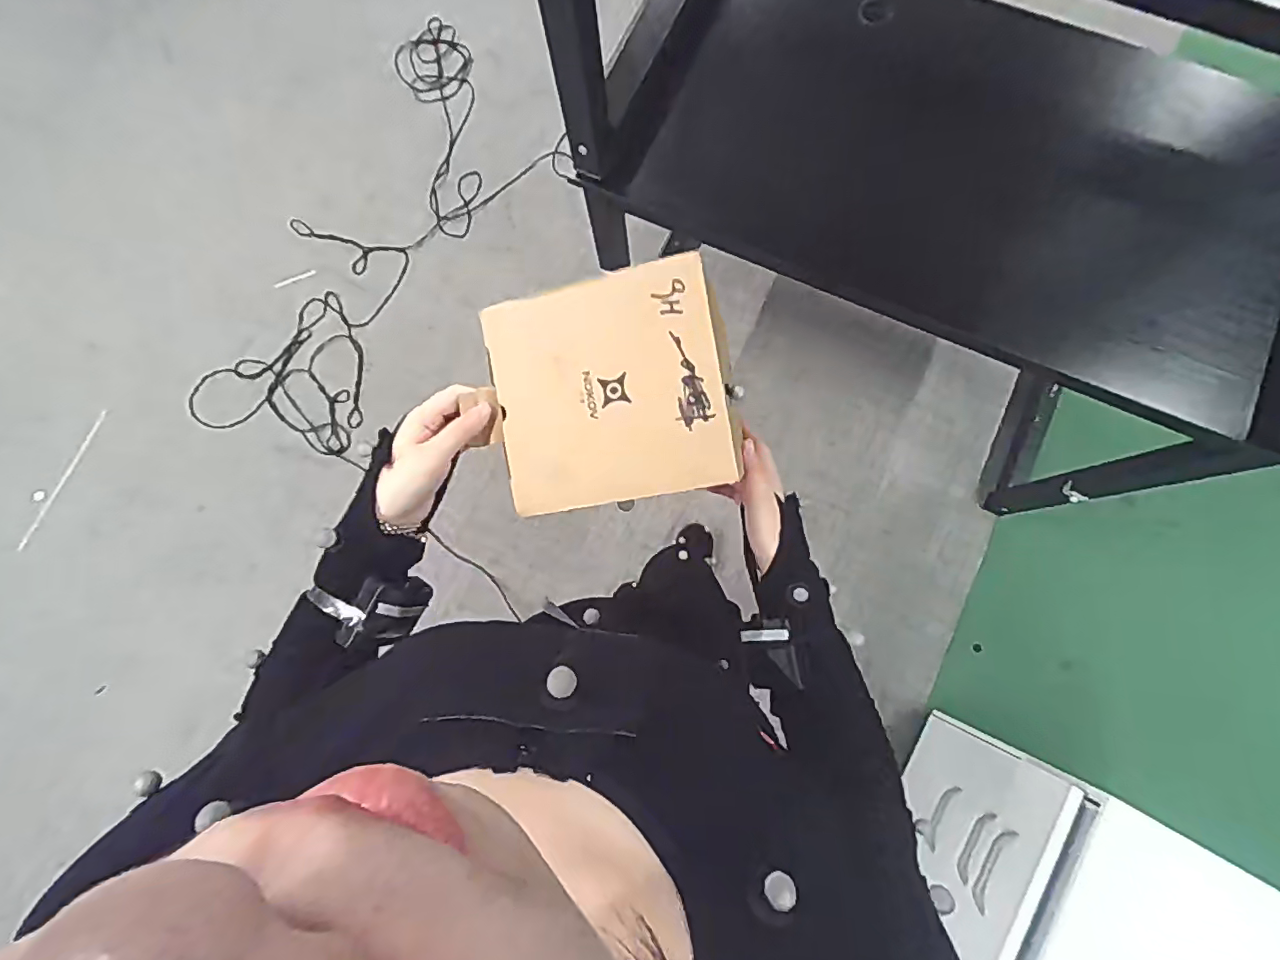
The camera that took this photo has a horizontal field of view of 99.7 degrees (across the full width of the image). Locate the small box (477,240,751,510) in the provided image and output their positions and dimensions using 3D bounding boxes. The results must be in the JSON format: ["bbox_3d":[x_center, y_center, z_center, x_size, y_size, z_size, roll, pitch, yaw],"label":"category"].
[{"bbox_3d":[-0.008,-0.072,0.459,0.179,0.176,0.168,-9,92,14],"label":"small box"}]
